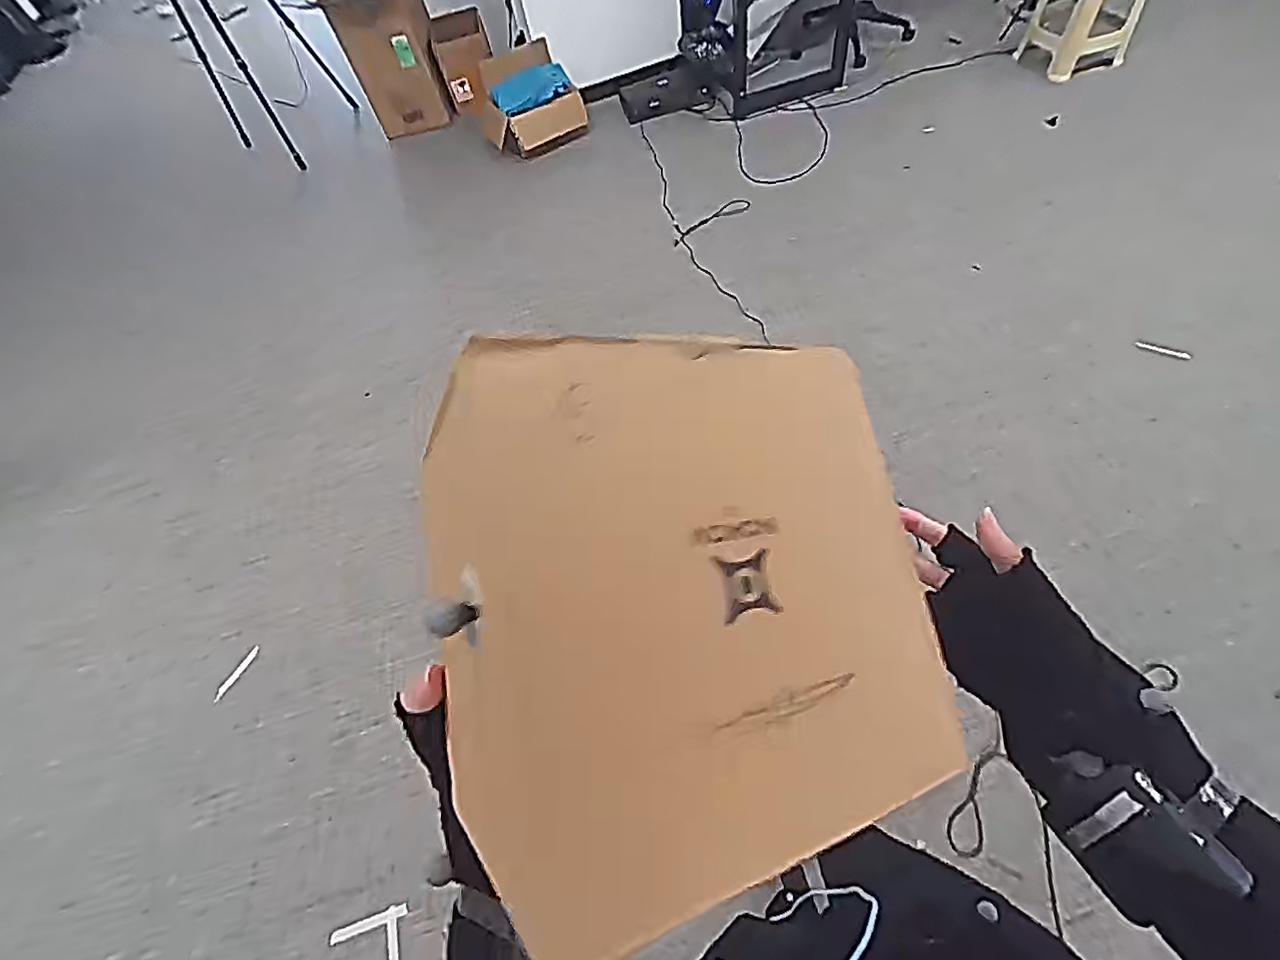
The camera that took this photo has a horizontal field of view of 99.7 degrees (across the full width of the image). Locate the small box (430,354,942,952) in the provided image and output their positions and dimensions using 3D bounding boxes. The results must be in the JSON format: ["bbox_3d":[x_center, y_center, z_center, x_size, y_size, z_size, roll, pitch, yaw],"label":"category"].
[{"bbox_3d":[0.000,0.059,0.264,0.168,0.176,0.179,-4,77,-29],"label":"small box"}]
